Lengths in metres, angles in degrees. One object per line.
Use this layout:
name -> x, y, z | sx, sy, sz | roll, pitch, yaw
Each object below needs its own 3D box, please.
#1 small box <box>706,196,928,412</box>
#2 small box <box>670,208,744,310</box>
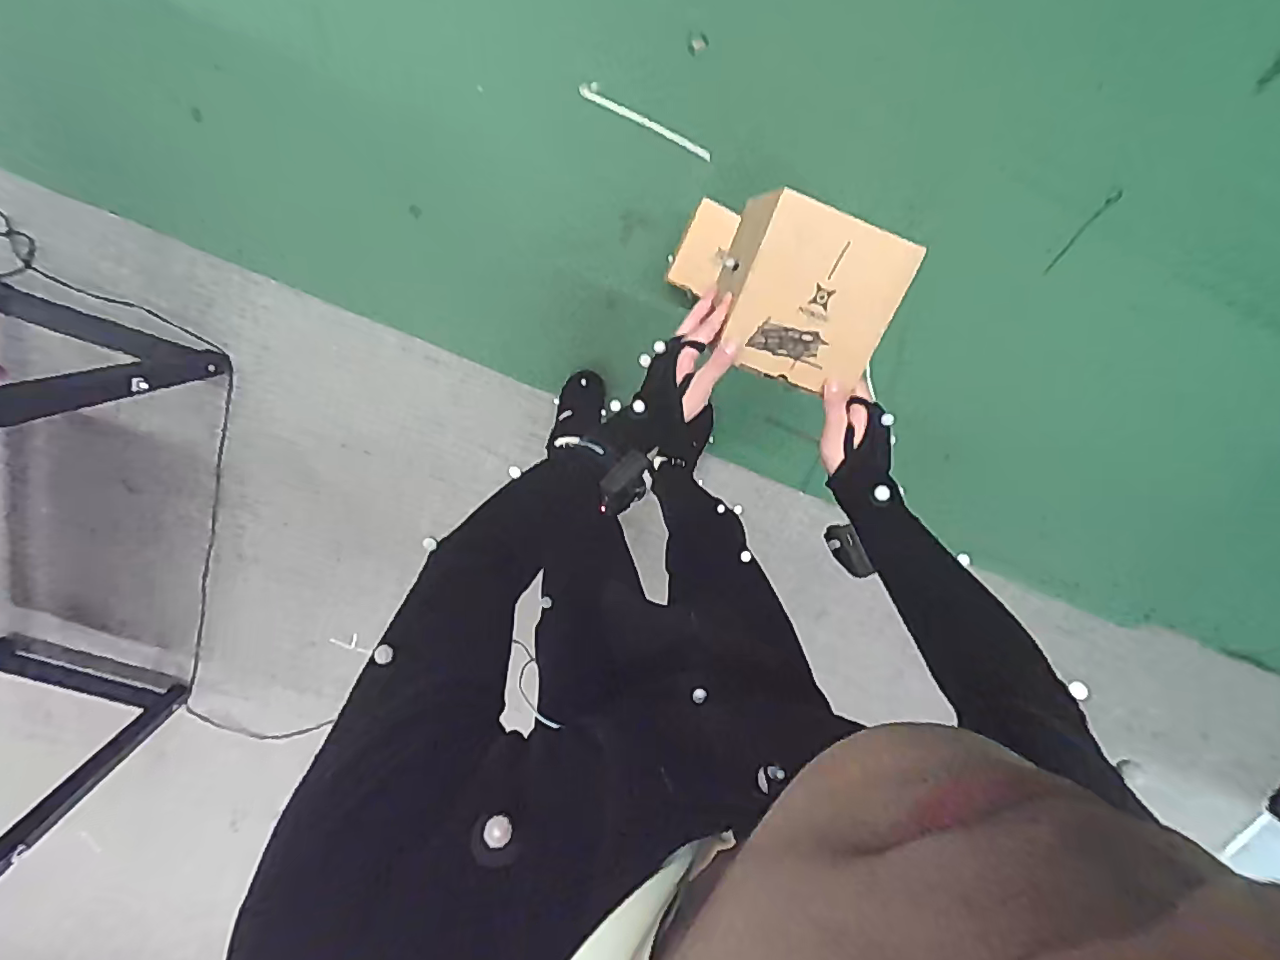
small box -> 0.187, -0.205, 0.636 | 0.168, 0.176, 0.179 | 18, 110, -9
small box -> 0.174, -0.485, 1.228 | 0.168, 0.176, 0.179 | 23, 108, -9
